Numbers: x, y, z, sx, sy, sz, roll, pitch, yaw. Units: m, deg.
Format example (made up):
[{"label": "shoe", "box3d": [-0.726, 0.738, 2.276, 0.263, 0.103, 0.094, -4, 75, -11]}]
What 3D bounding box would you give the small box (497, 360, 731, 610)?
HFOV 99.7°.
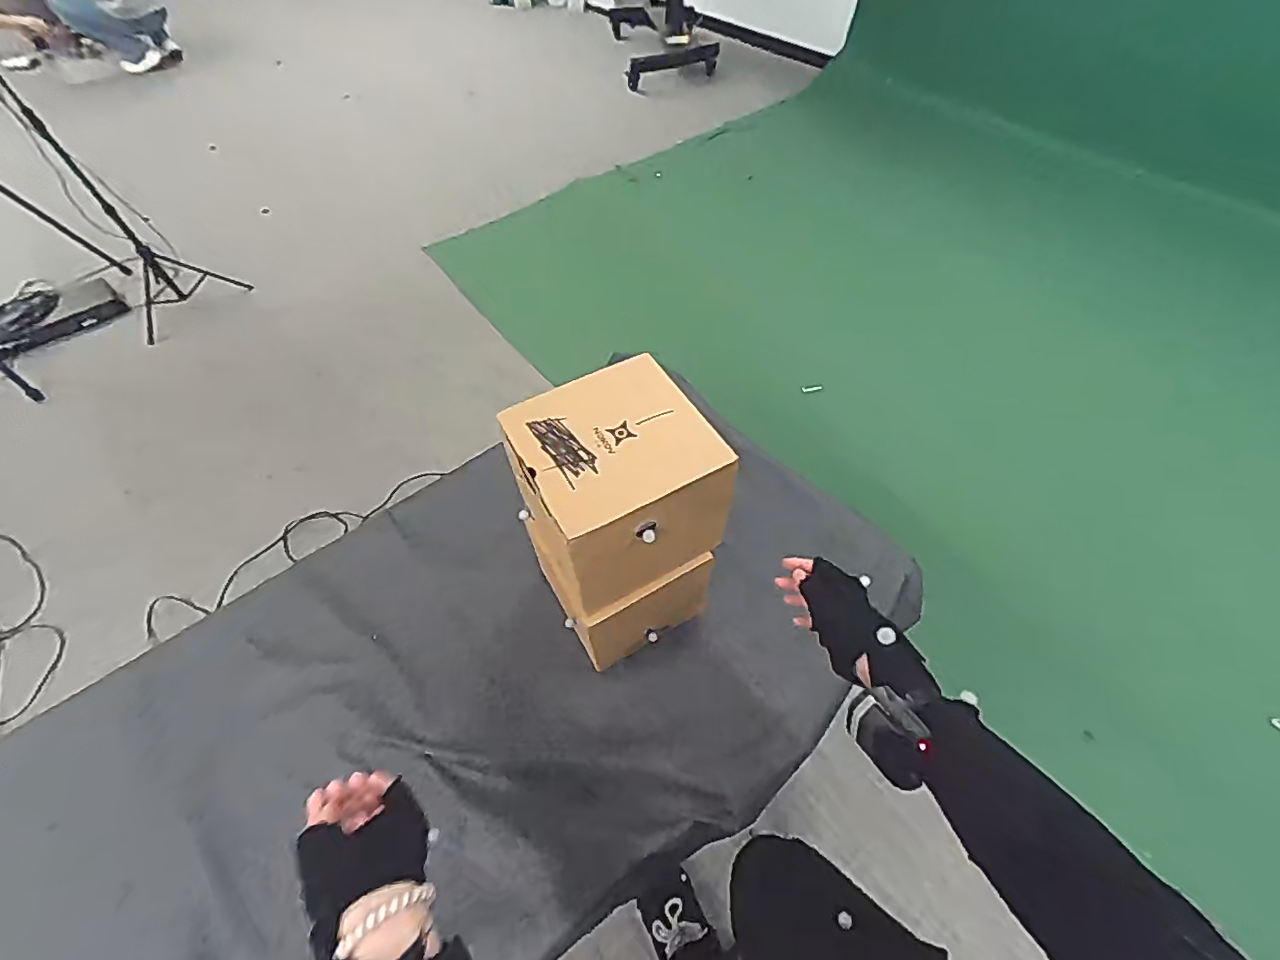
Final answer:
[{"label": "small box", "box3d": [-0.026, 0.010, 0.578, 0.179, 0.176, 0.168, -26, 59, -16]}]
